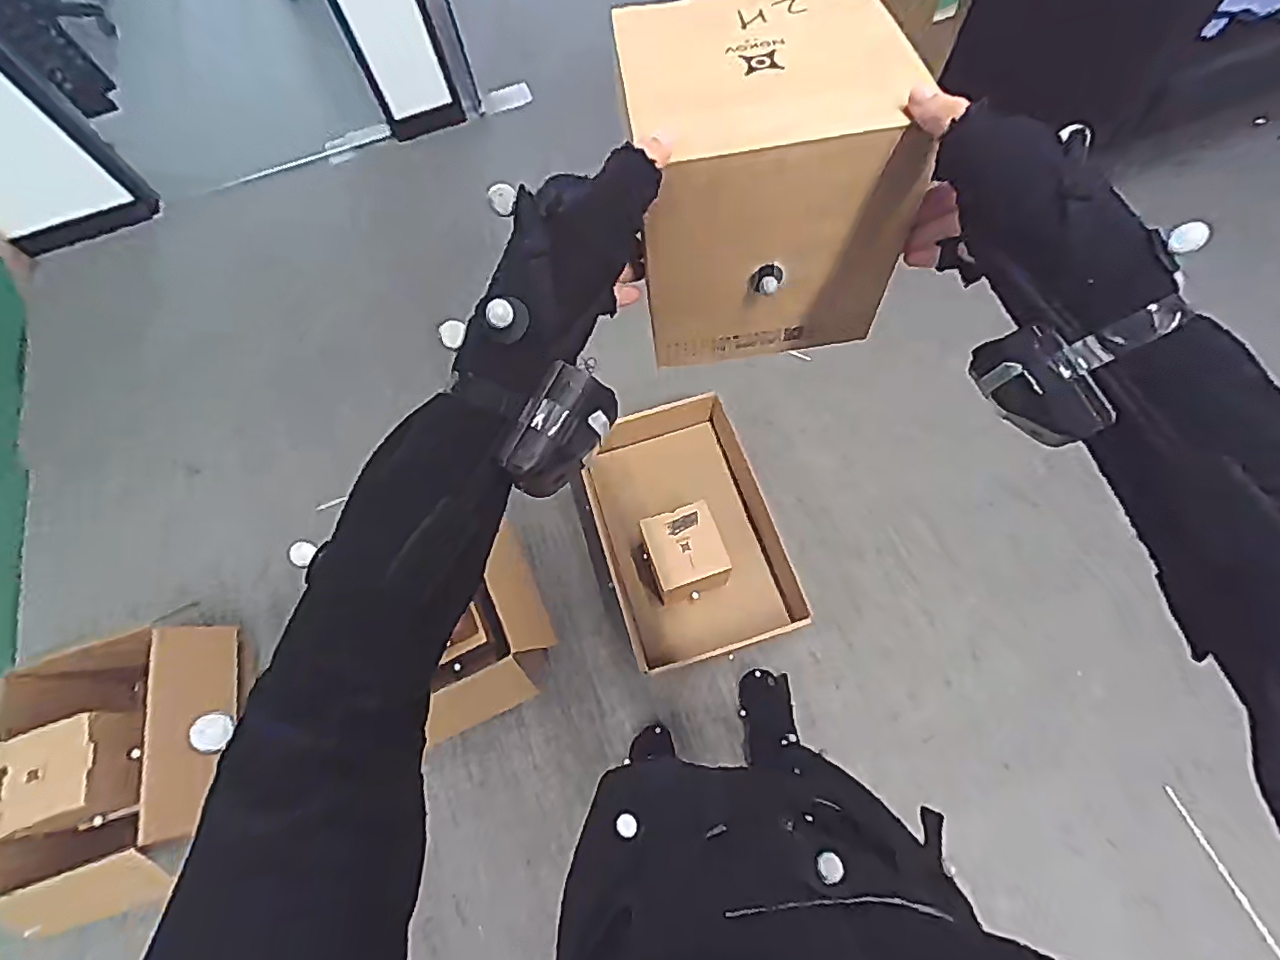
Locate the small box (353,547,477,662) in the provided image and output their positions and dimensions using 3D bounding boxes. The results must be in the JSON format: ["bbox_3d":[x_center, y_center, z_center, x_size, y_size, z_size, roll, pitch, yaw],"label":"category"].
[{"bbox_3d":[-0.465,0.268,1.141,0.168,0.176,0.179,-25,70,-8],"label":"small box"}]

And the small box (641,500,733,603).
[{"bbox_3d":[0.105,0.176,1.290,0.168,0.176,0.179,-18,67,-5],"label":"small box"}]

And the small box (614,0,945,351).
[{"bbox_3d":[0.079,-0.211,0.392,0.168,0.176,0.179,-8,62,2],"label":"small box"}]
